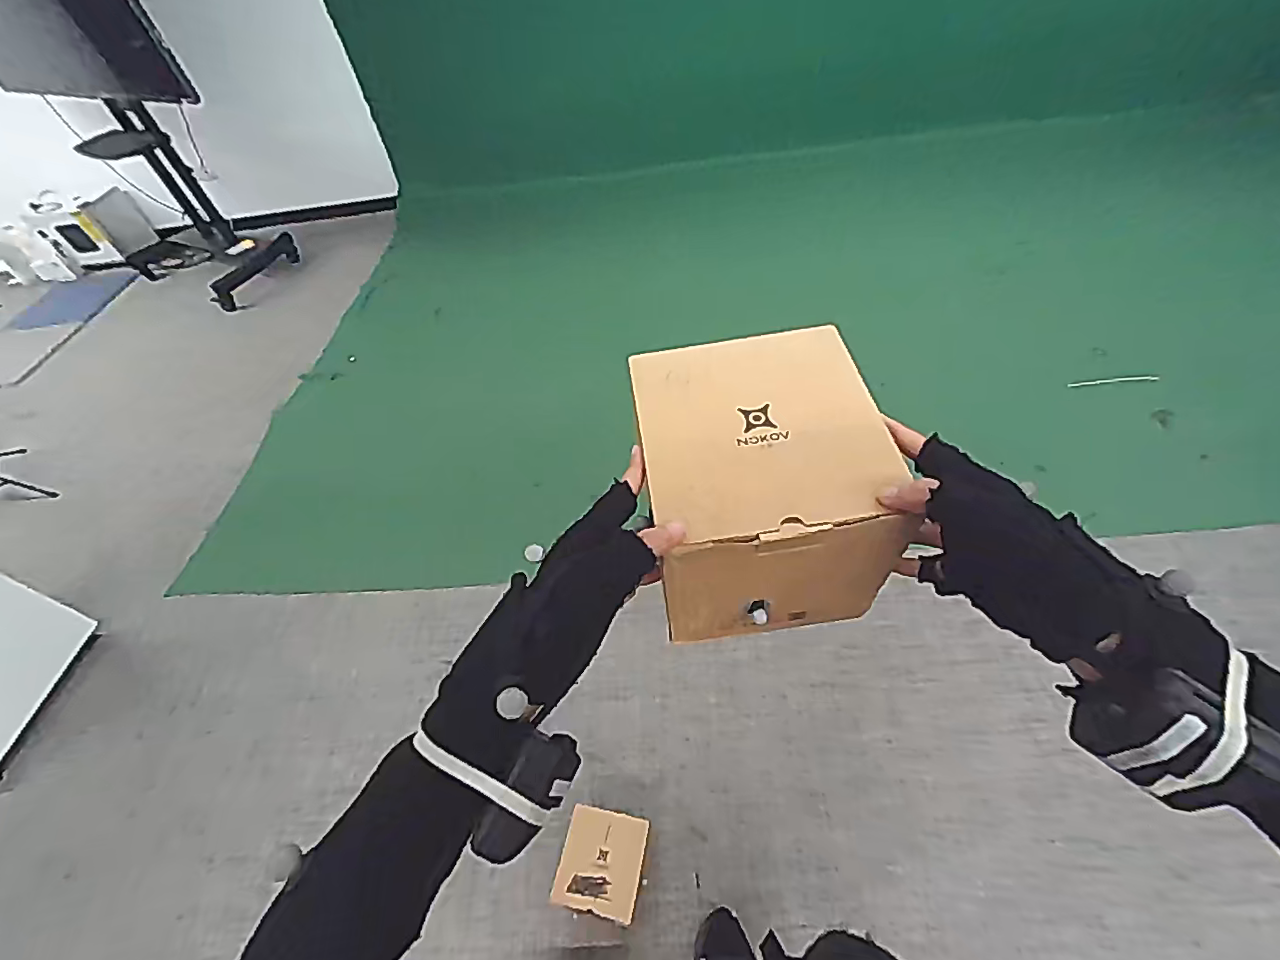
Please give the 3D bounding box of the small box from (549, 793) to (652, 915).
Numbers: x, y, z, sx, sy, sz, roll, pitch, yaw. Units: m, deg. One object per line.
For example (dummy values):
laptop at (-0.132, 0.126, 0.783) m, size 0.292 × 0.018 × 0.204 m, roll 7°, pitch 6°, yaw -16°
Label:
small box at (-0.073, 0.799, 1.152) m, size 0.168 × 0.176 × 0.179 m, roll 7°, pitch 50°, yaw 13°
